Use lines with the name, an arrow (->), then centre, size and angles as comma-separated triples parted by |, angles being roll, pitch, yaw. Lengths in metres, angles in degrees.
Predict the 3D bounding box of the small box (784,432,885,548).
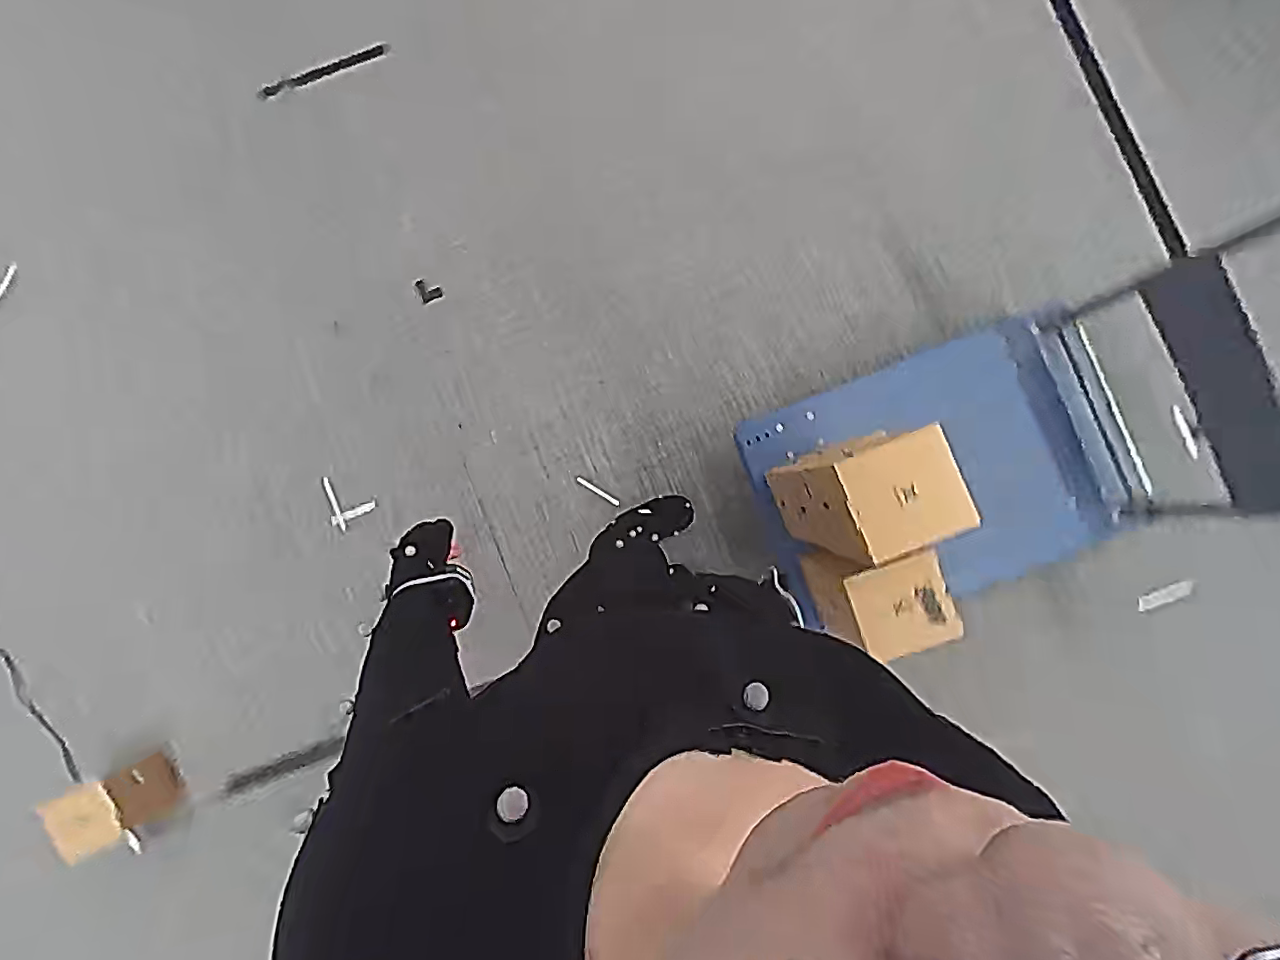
small box -> 0.400, 0.021, 1.064 | 0.179, 0.176, 0.168 | -24, 88, 2

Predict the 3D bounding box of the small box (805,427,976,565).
small box -> 0.403, 0.024, 0.900 | 0.179, 0.176, 0.168 | -22, 88, 1

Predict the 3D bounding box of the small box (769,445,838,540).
small box -> 0.406, 0.027, 1.228 | 0.179, 0.176, 0.168 | -22, 89, 0

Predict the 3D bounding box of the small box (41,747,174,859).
small box -> -1.407, 0.854, 1.447 | 0.179, 0.176, 0.168 | -26, 87, 1

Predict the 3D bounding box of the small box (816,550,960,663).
small box -> 0.472, 0.230, 1.056 | 0.179, 0.176, 0.168 | -19, 88, 1
